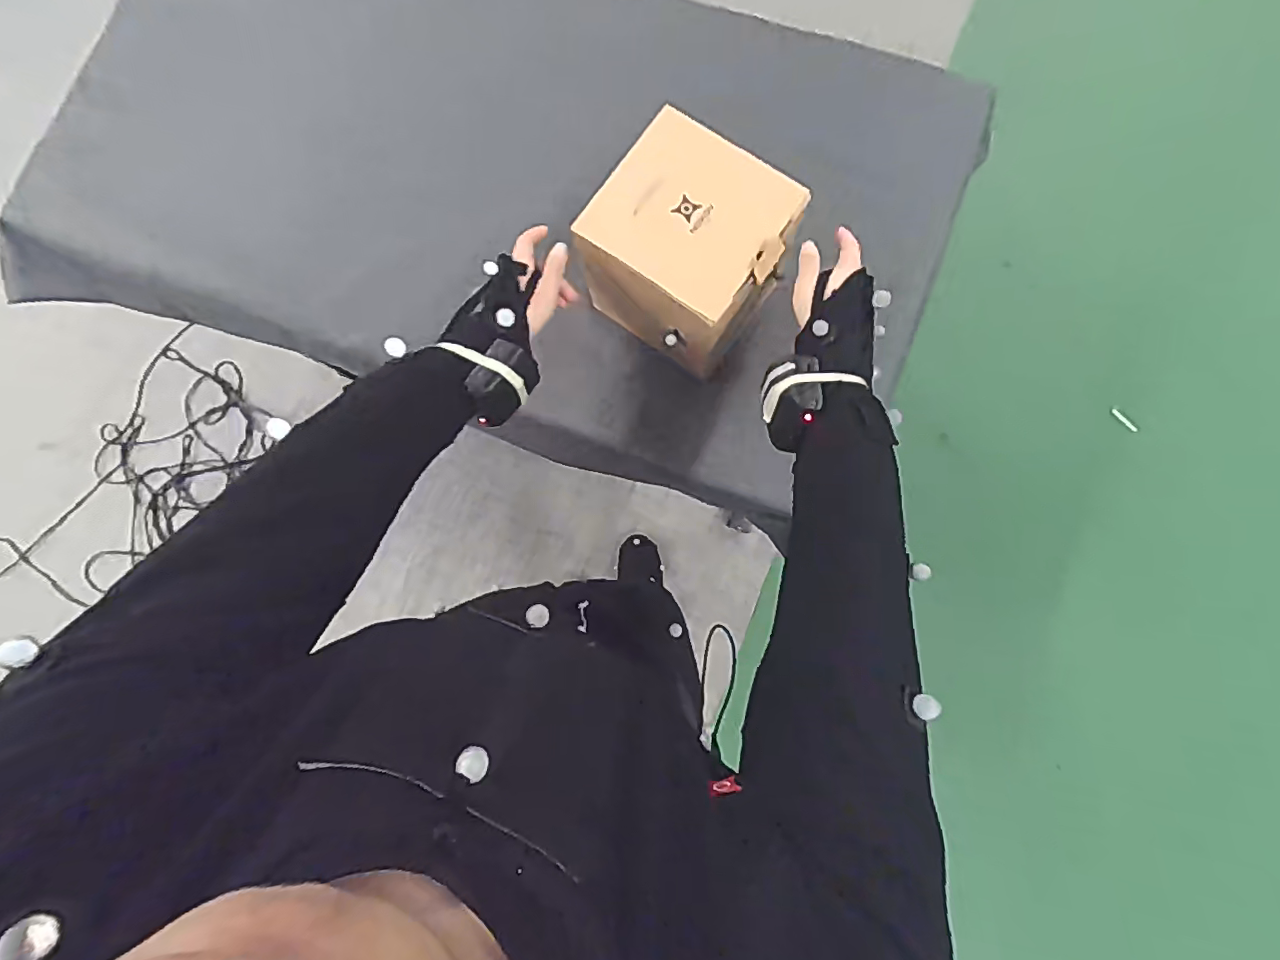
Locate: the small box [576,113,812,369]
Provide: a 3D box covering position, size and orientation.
[{"bbox_3d":[0.057,-0.246,0.606,0.179,0.176,0.168,35,85,8],"label":"small box"}]

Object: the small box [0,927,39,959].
[{"bbox_3d":[-1.558,1.181,1.241,0.168,0.176,0.179,1,82,3],"label":"small box"}]
